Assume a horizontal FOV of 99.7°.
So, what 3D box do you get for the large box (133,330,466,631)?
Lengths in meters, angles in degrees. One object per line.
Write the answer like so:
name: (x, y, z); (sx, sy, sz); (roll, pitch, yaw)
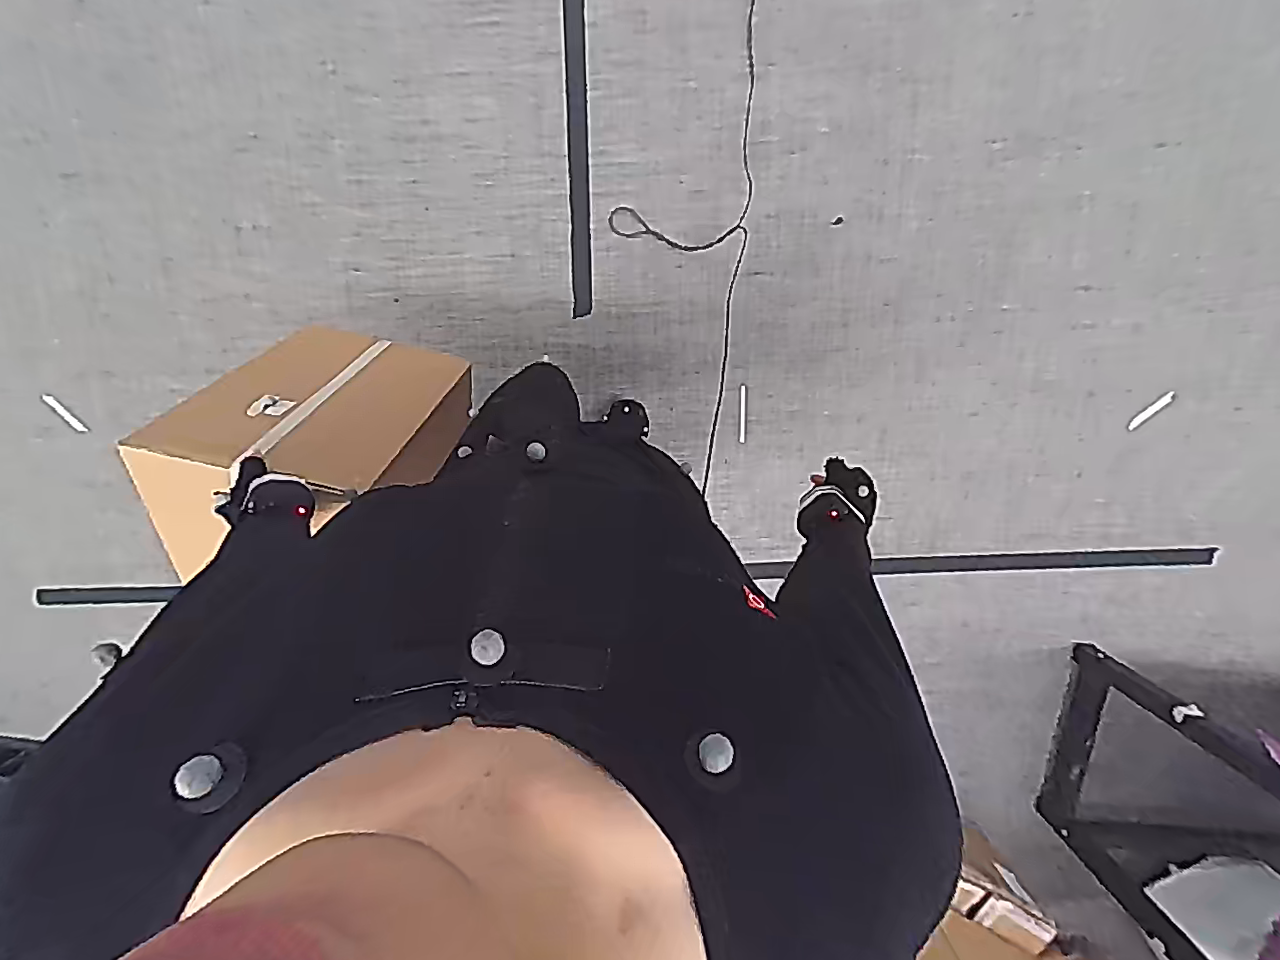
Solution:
large box: (-0.519, -0.013, 0.948); (0.320, 0.408, 0.320); (12, 129, -2)
